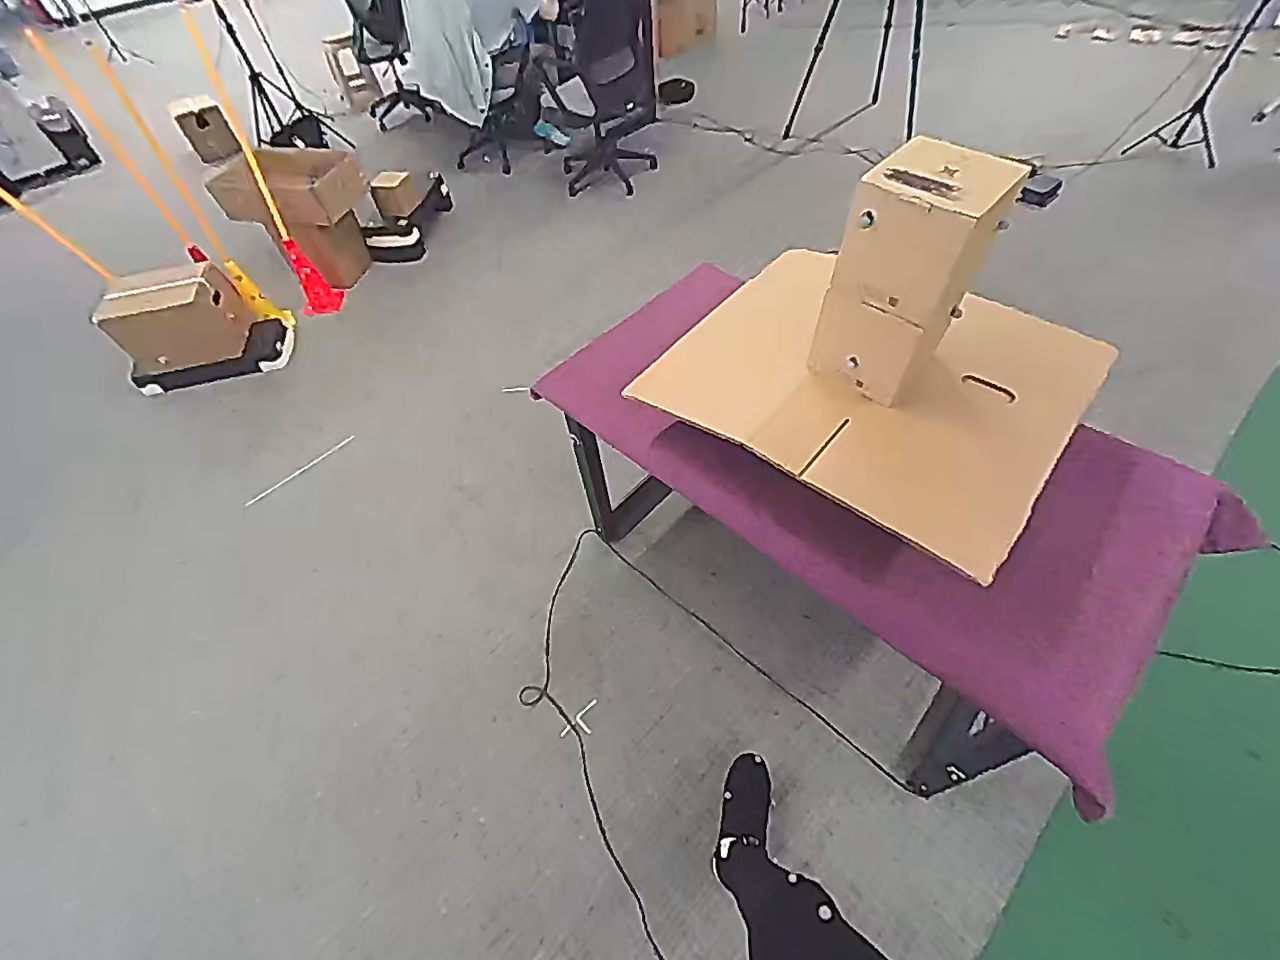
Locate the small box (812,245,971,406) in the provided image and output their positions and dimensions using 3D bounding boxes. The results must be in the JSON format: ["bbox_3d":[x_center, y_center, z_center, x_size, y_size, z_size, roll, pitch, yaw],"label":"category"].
[{"bbox_3d":[0.419,-0.263,0.929,0.168,0.176,0.179,35,64,25],"label":"small box"}]
